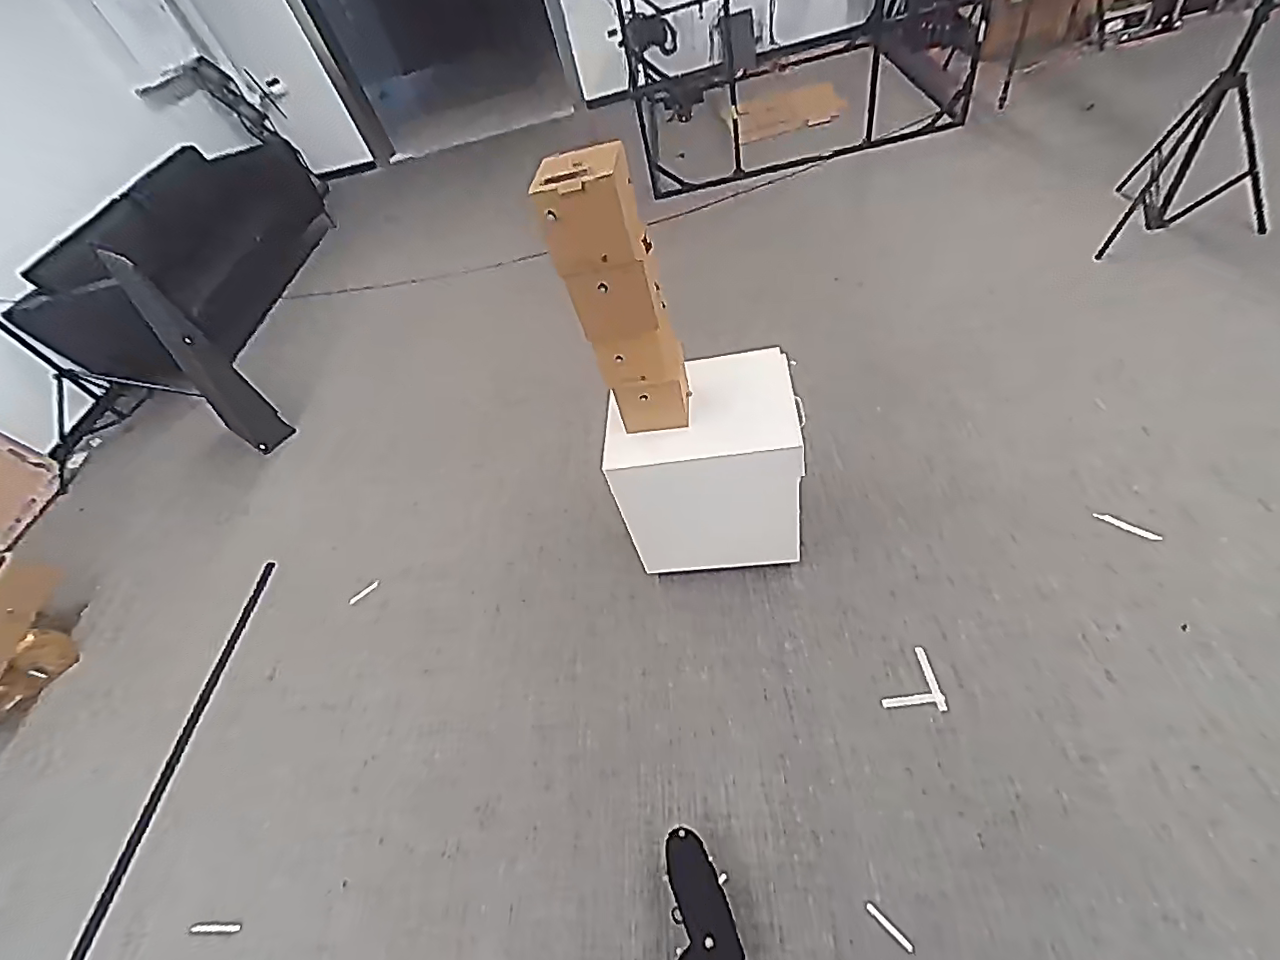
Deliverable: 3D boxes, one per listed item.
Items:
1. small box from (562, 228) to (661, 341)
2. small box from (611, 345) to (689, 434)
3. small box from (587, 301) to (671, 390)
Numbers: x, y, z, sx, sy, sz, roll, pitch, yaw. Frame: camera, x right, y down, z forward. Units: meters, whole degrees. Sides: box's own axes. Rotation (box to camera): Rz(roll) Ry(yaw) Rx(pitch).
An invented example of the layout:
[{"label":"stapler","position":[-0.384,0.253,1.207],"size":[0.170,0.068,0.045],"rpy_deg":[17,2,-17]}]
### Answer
[{"label":"small box","position":[-0.057,-0.432,1.214],"size":[0.179,0.176,0.168],"rpy_deg":[-6,50,11]},{"label":"small box","position":[0.034,-0.239,1.463],"size":[0.179,0.176,0.168],"rpy_deg":[-5,50,11]},{"label":"small box","position":[-0.019,-0.339,1.346],"size":[0.168,0.176,0.179],"rpy_deg":[-4,50,13]}]
